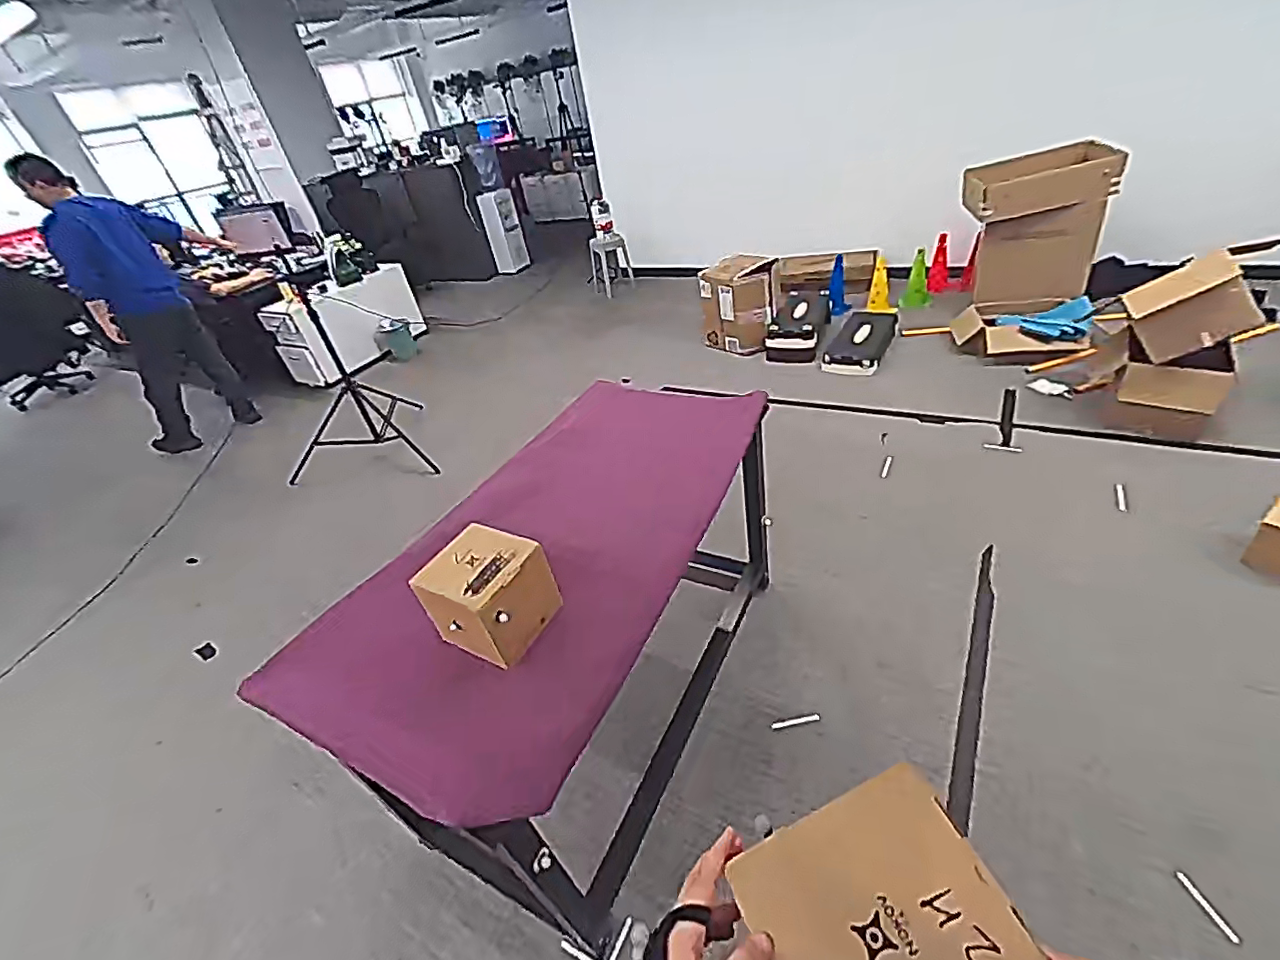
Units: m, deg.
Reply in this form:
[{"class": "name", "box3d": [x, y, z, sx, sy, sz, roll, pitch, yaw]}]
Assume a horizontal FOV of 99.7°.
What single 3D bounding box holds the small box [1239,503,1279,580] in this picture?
[{"class": "small box", "box3d": [1.999, 0.202, 1.643, 0.168, 0.176, 0.179, -29, 40, -23]}]
